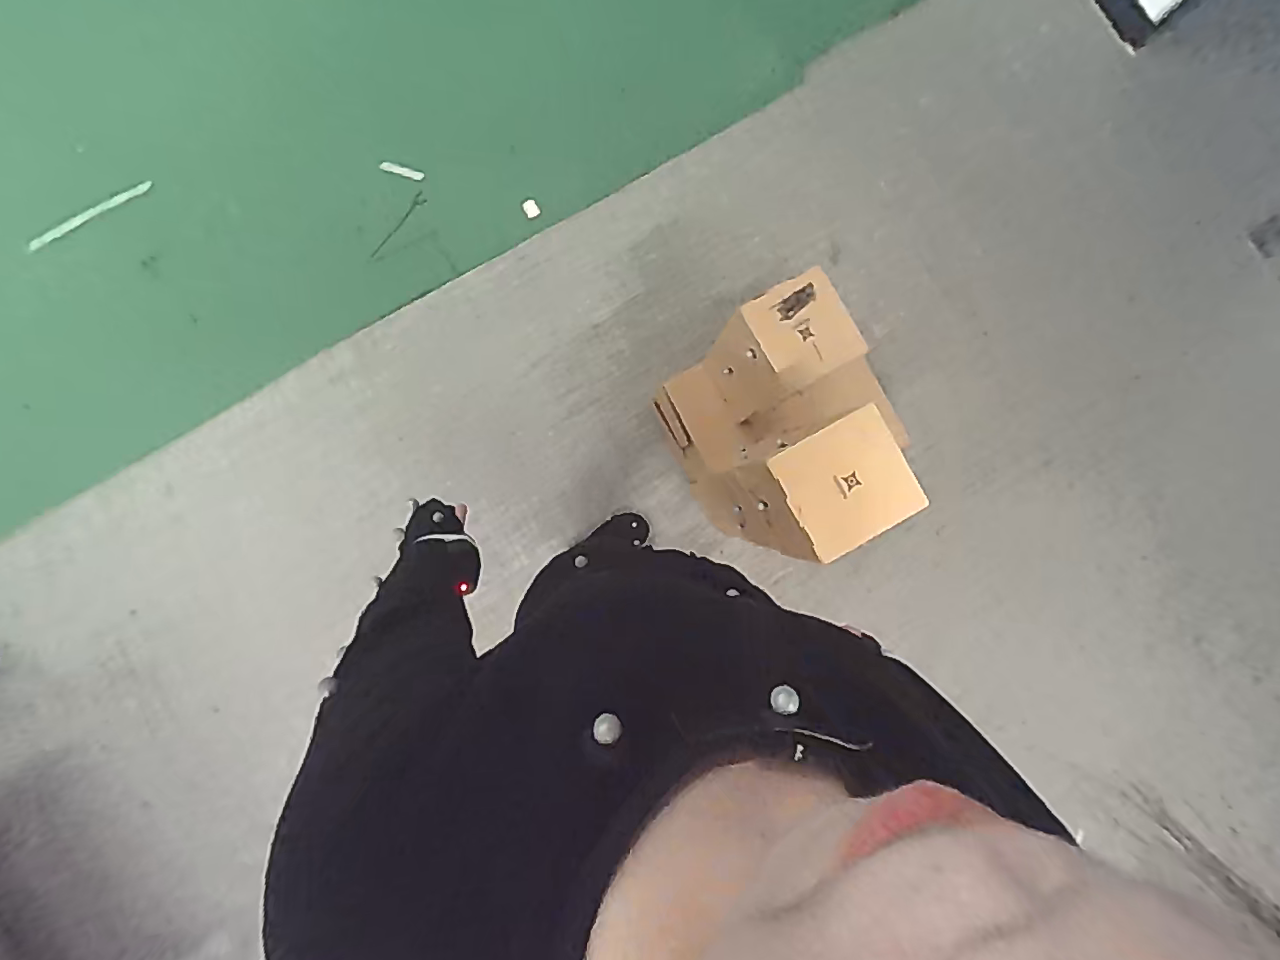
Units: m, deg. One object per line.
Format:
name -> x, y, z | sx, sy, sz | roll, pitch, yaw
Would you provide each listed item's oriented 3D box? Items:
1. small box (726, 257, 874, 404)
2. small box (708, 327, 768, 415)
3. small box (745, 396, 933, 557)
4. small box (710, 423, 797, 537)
small box -> 0.279, -0.262, 0.987 | 0.168, 0.176, 0.179 | -30, 88, -5
small box -> 0.267, -0.259, 1.153 | 0.179, 0.176, 0.168 | -29, 89, -6
small box -> 0.285, -0.005, 0.814 | 0.179, 0.176, 0.168 | -29, 90, -4
small box -> 0.270, 0.001, 1.140 | 0.168, 0.176, 0.179 | -31, 90, -5
